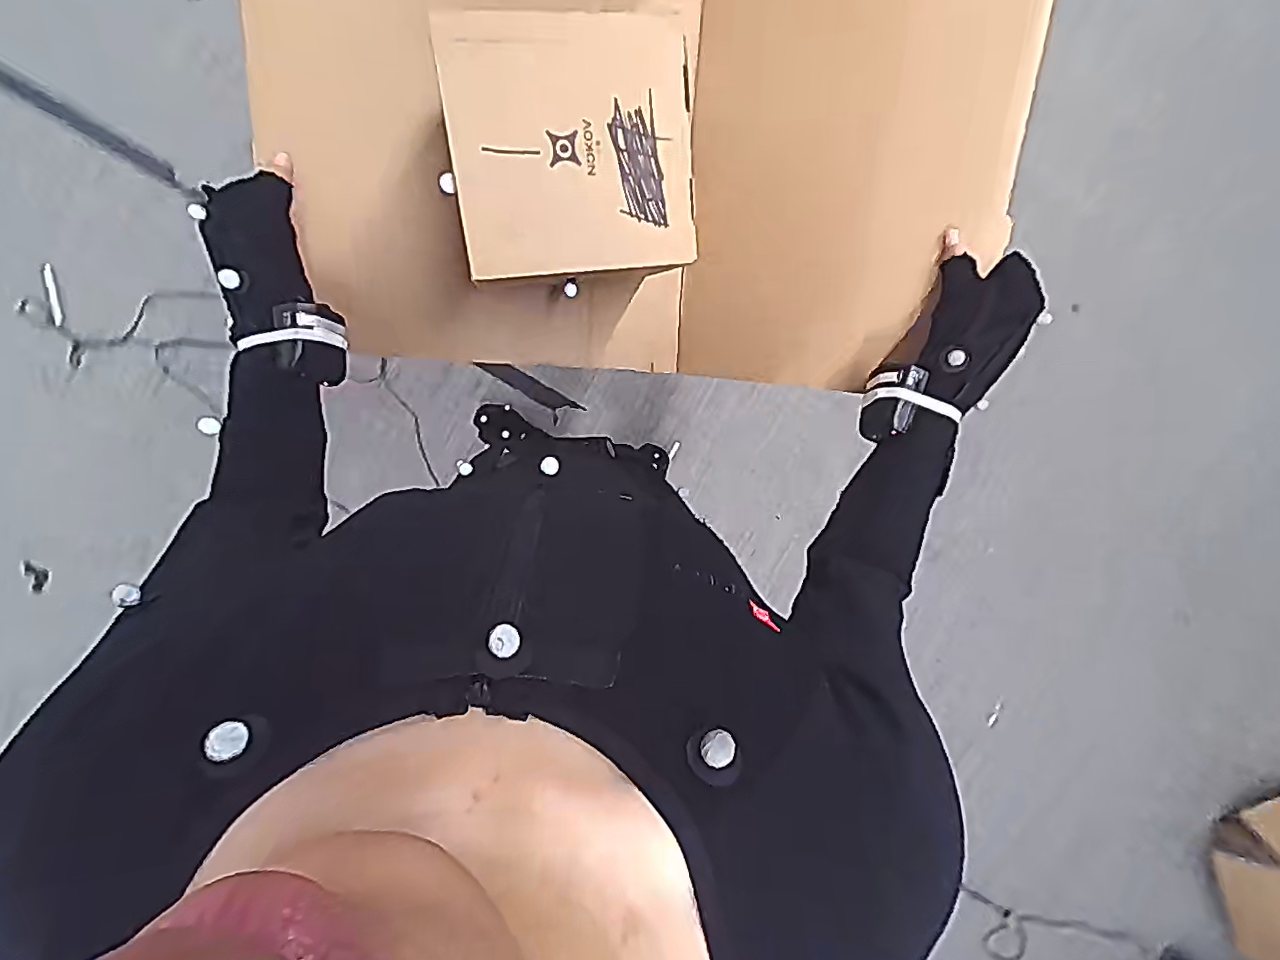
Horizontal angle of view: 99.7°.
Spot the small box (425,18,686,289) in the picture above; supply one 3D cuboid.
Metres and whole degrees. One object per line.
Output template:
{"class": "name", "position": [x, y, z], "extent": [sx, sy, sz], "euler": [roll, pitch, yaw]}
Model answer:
{"class": "small box", "position": [-0.071, -0.263, 0.472], "extent": [0.179, 0.176, 0.168], "euler": [-10, 108, -10]}
